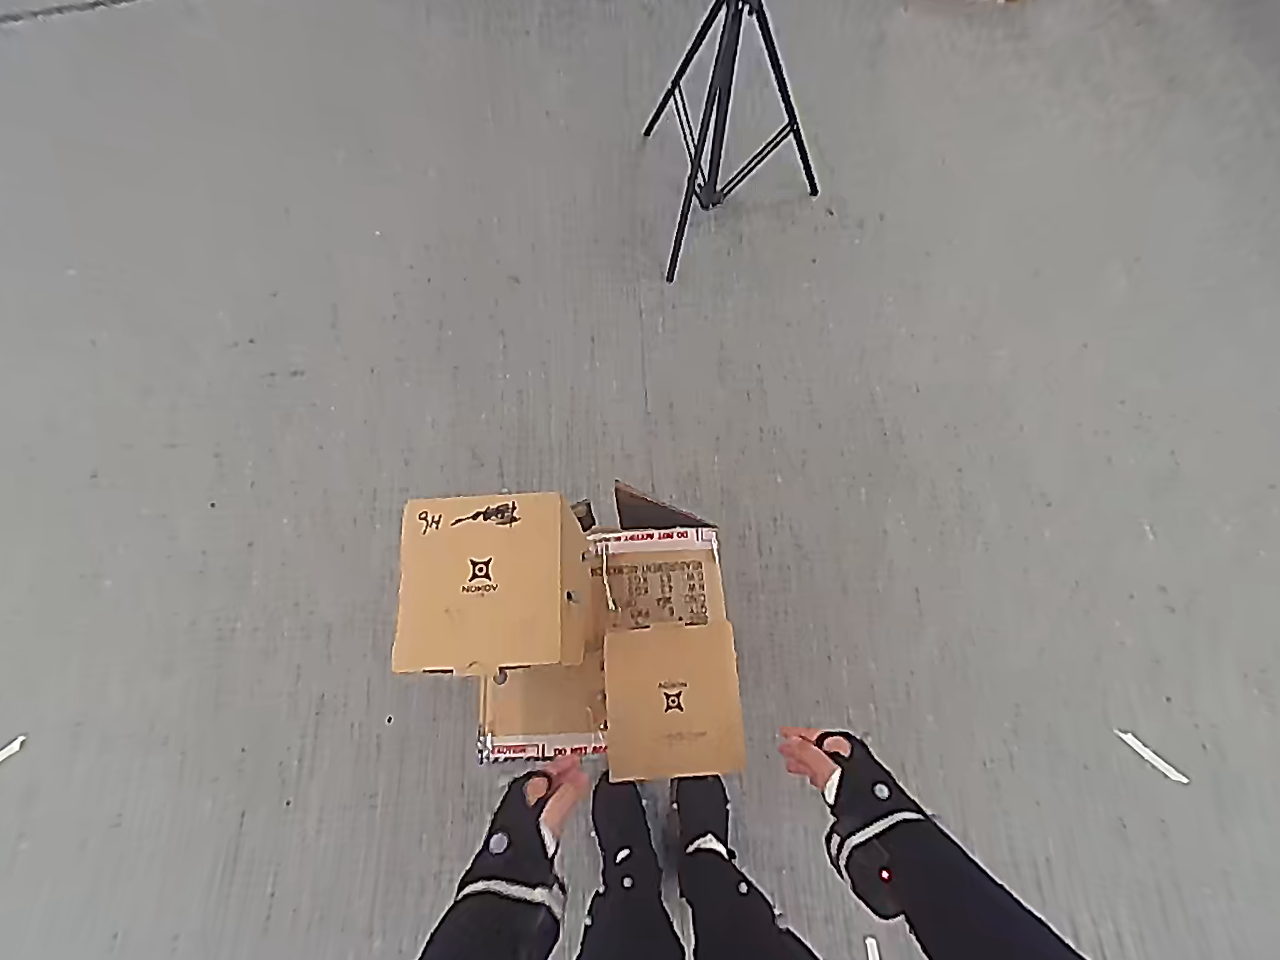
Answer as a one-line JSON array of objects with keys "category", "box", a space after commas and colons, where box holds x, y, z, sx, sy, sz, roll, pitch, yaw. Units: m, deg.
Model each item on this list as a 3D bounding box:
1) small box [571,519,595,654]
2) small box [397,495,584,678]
[{"category": "small box", "box": [-0.158, 0.165, 0.780, 0.168, 0.176, 0.179, -5, 73, 1]}, {"category": "small box", "box": [-0.156, 0.125, 0.621, 0.168, 0.176, 0.179, -4, 74, 1]}]
